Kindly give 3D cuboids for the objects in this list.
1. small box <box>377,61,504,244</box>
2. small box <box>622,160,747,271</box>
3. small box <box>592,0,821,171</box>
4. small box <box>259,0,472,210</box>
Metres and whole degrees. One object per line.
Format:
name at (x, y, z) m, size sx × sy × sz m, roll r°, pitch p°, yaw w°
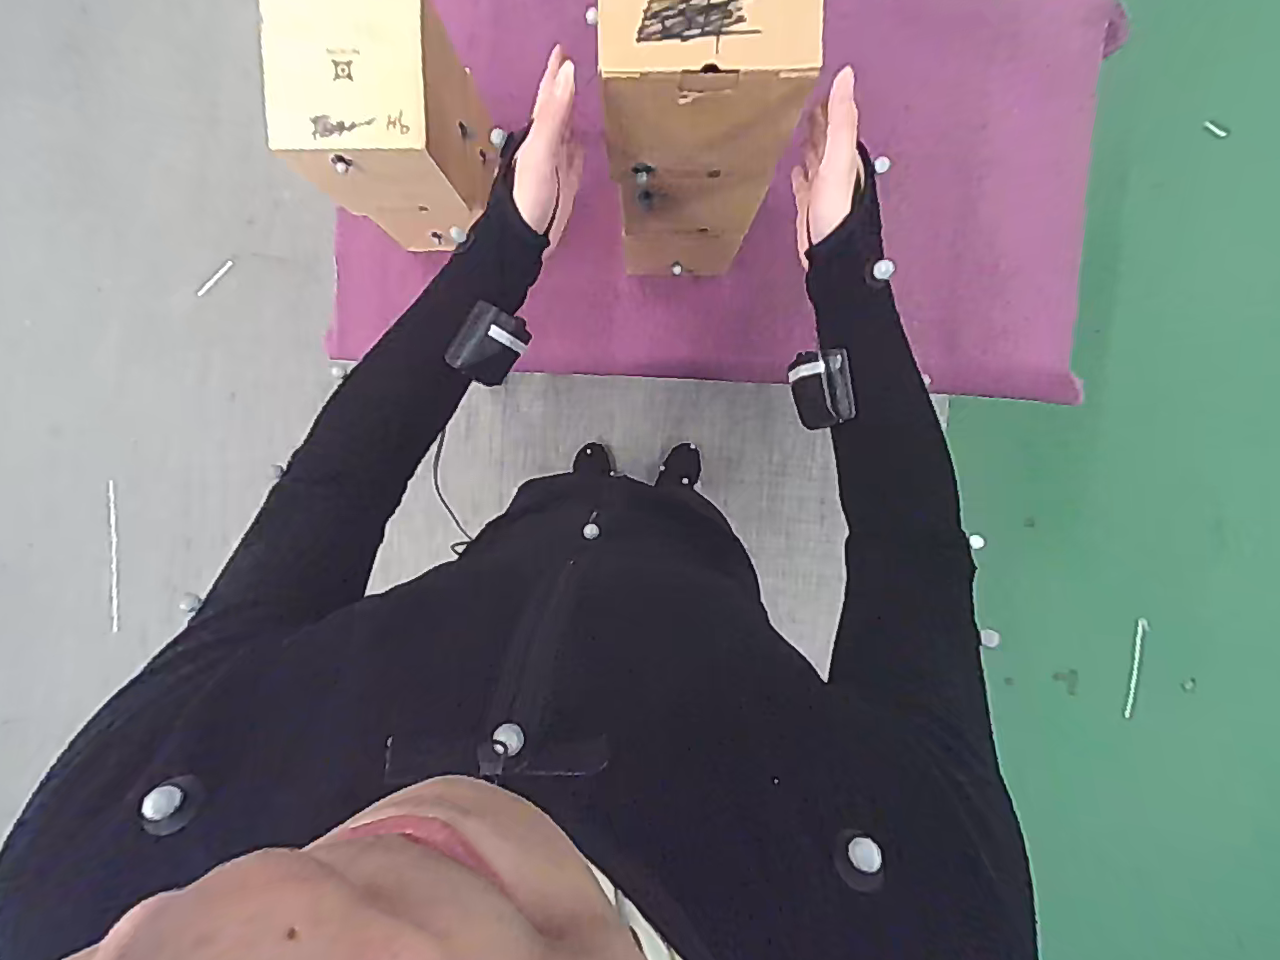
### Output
small box at (-0.302, -0.465, 0.791) m, size 0.168 × 0.176 × 0.179 m, roll -2°, pitch 95°, yaw 0°
small box at (0.060, -0.423, 0.790) m, size 0.168 × 0.176 × 0.179 m, roll 1°, pitch 94°, yaw 1°
small box at (0.050, -0.391, 0.462) m, size 0.168 × 0.176 × 0.179 m, roll 0°, pitch 92°, yaw 0°
small box at (-0.303, -0.440, 0.628) m, size 0.168 × 0.176 × 0.179 m, roll 0°, pitch 94°, yaw 1°
